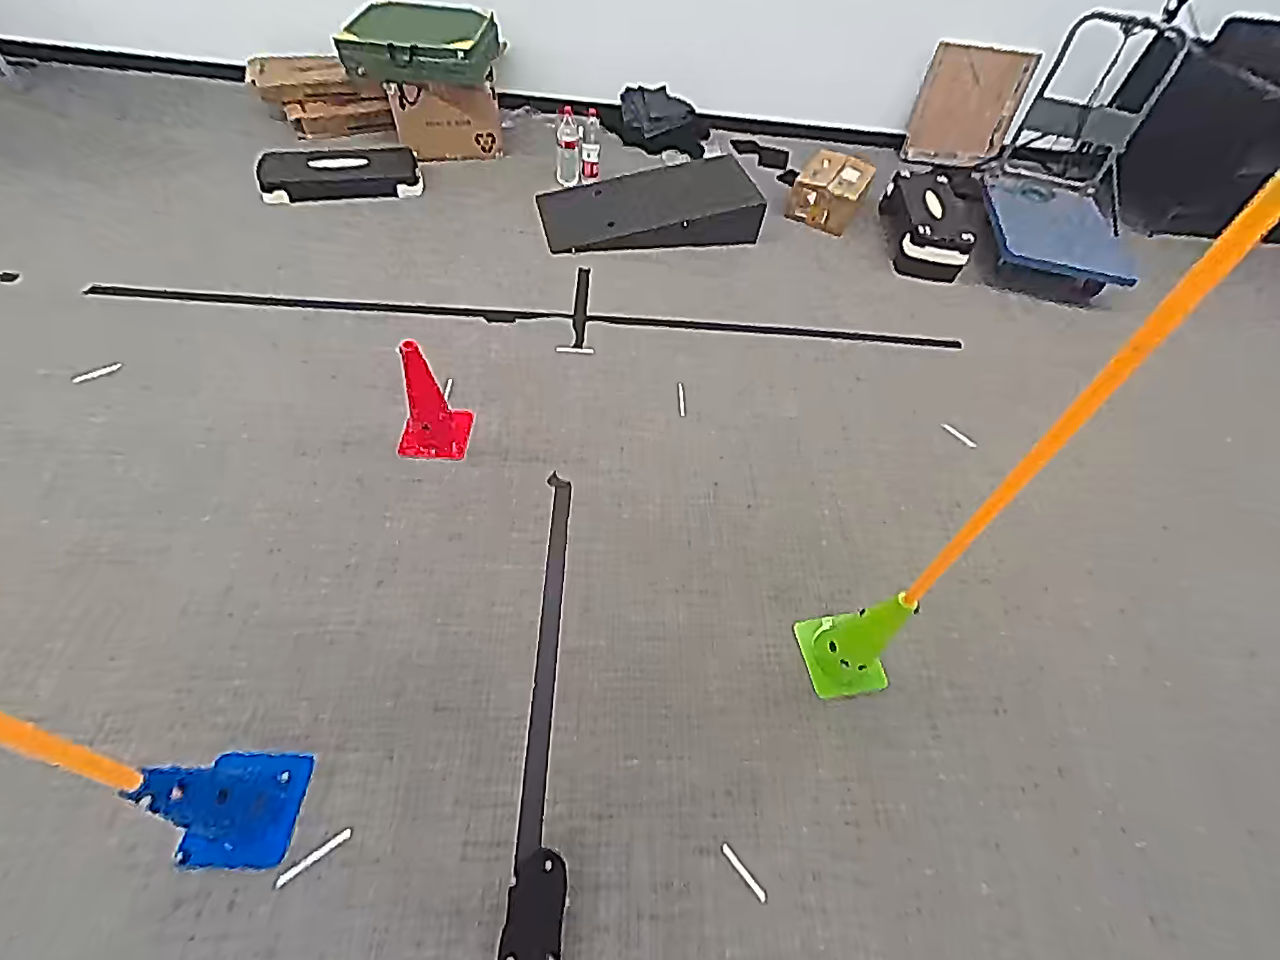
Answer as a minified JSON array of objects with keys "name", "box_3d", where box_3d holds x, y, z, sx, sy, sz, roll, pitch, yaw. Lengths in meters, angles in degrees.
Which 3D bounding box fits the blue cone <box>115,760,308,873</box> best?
[{"name":"blue cone","box_3d":[-0.772,0.575,0.954,0.193,0.380,0.192,5,54,-3]}]

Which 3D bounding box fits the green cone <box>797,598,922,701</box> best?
[{"name":"green cone","box_3d":[0.540,0.358,1.261,0.200,0.368,0.202,-6,56,-11]}]
